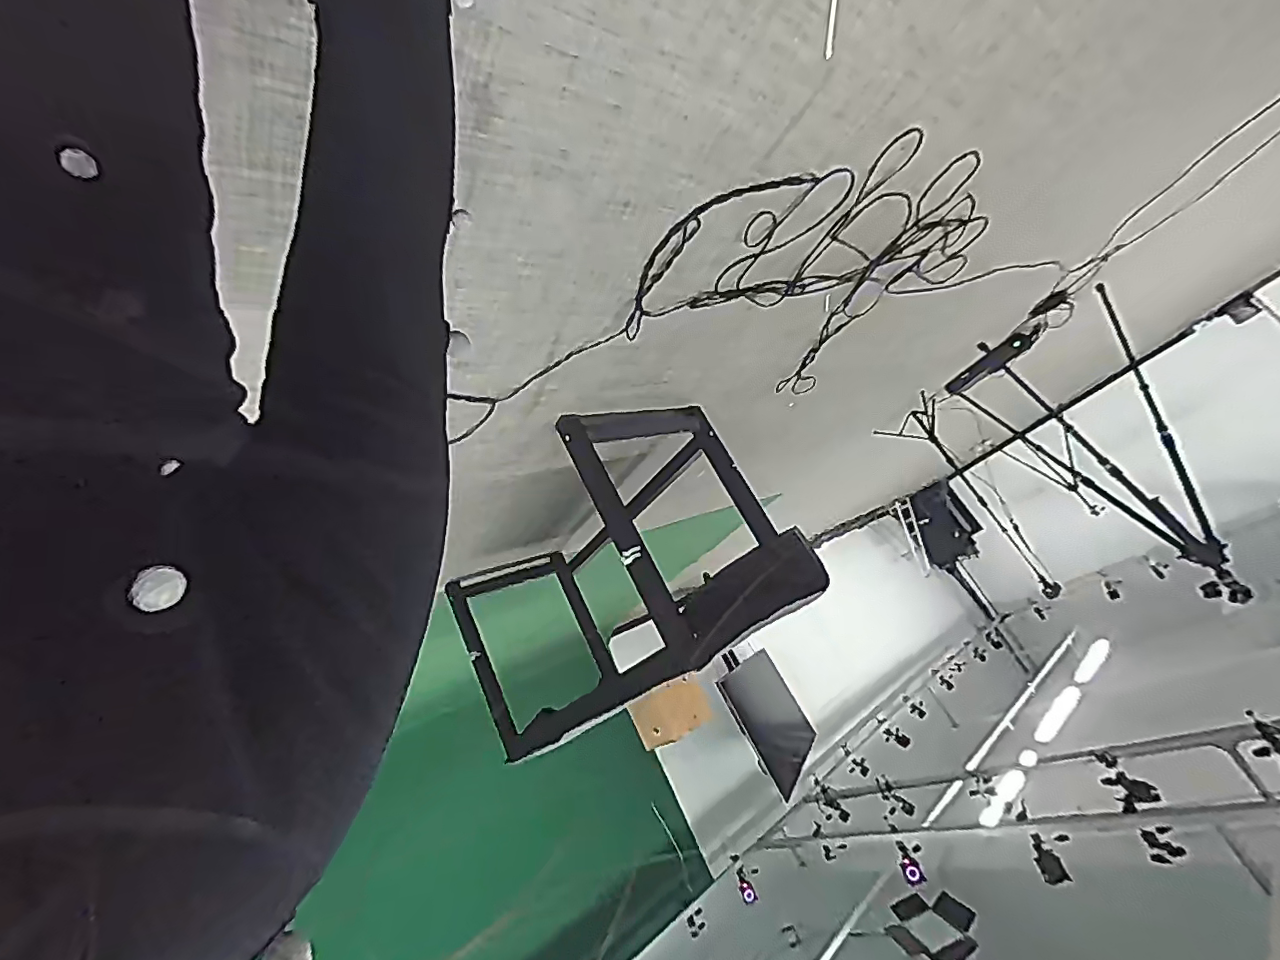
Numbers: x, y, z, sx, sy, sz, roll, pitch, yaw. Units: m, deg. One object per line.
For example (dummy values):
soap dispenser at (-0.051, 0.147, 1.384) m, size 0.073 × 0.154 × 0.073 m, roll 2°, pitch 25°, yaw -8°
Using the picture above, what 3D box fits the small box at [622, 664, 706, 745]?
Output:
small box at (0.069, 0.699, 1.700) m, size 0.168 × 0.176 × 0.179 m, roll -12°, pitch 157°, yaw -40°
